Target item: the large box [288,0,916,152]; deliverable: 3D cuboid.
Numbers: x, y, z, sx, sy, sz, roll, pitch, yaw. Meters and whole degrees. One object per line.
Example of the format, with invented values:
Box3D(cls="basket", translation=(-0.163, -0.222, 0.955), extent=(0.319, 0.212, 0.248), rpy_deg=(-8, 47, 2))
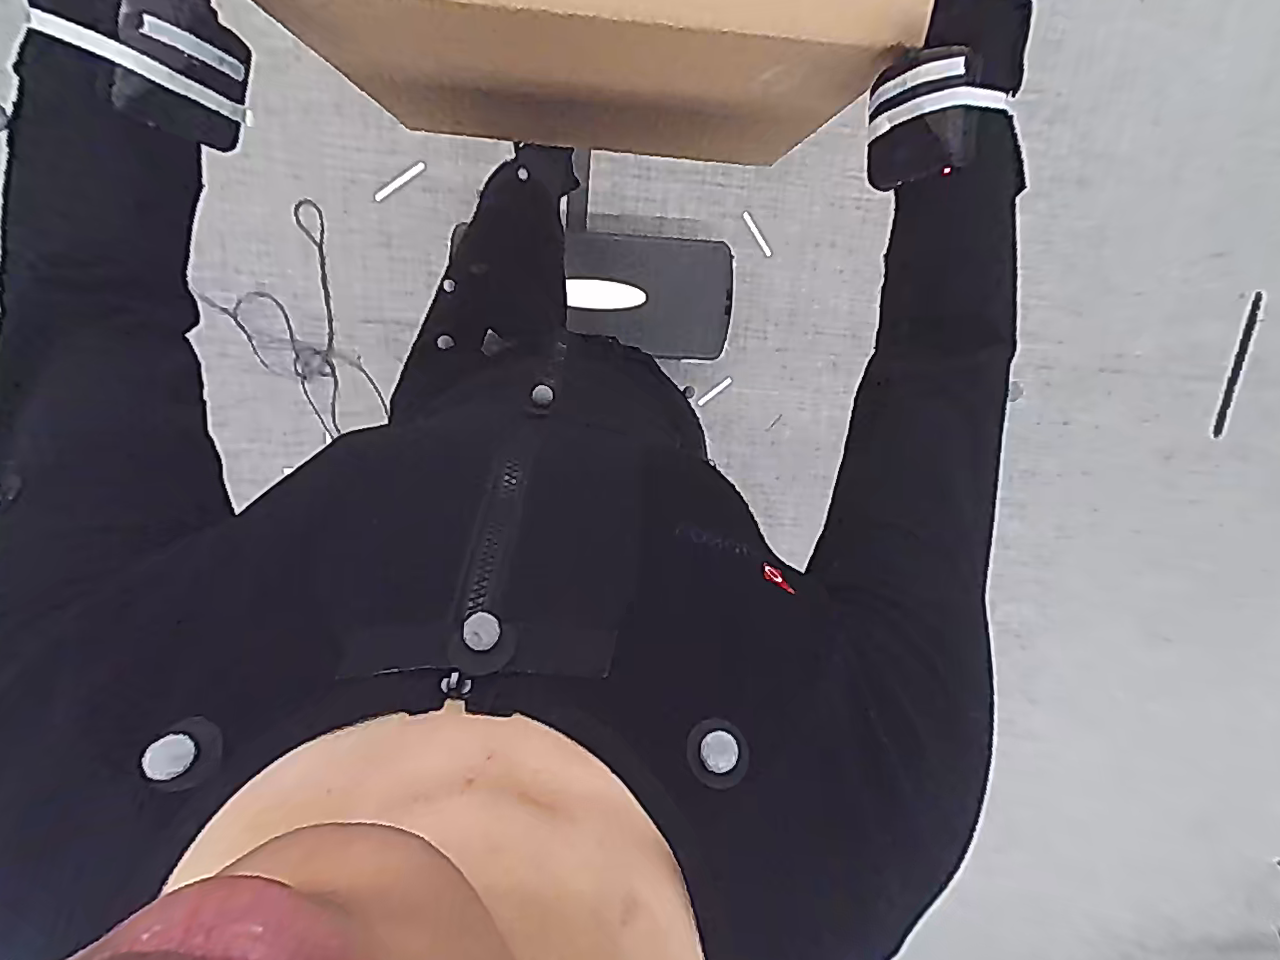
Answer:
Box3D(cls="large box", translation=(-0.032, -0.474, 0.409), extent=(0.408, 0.320, 0.320), rpy_deg=(3, 109, -5))
